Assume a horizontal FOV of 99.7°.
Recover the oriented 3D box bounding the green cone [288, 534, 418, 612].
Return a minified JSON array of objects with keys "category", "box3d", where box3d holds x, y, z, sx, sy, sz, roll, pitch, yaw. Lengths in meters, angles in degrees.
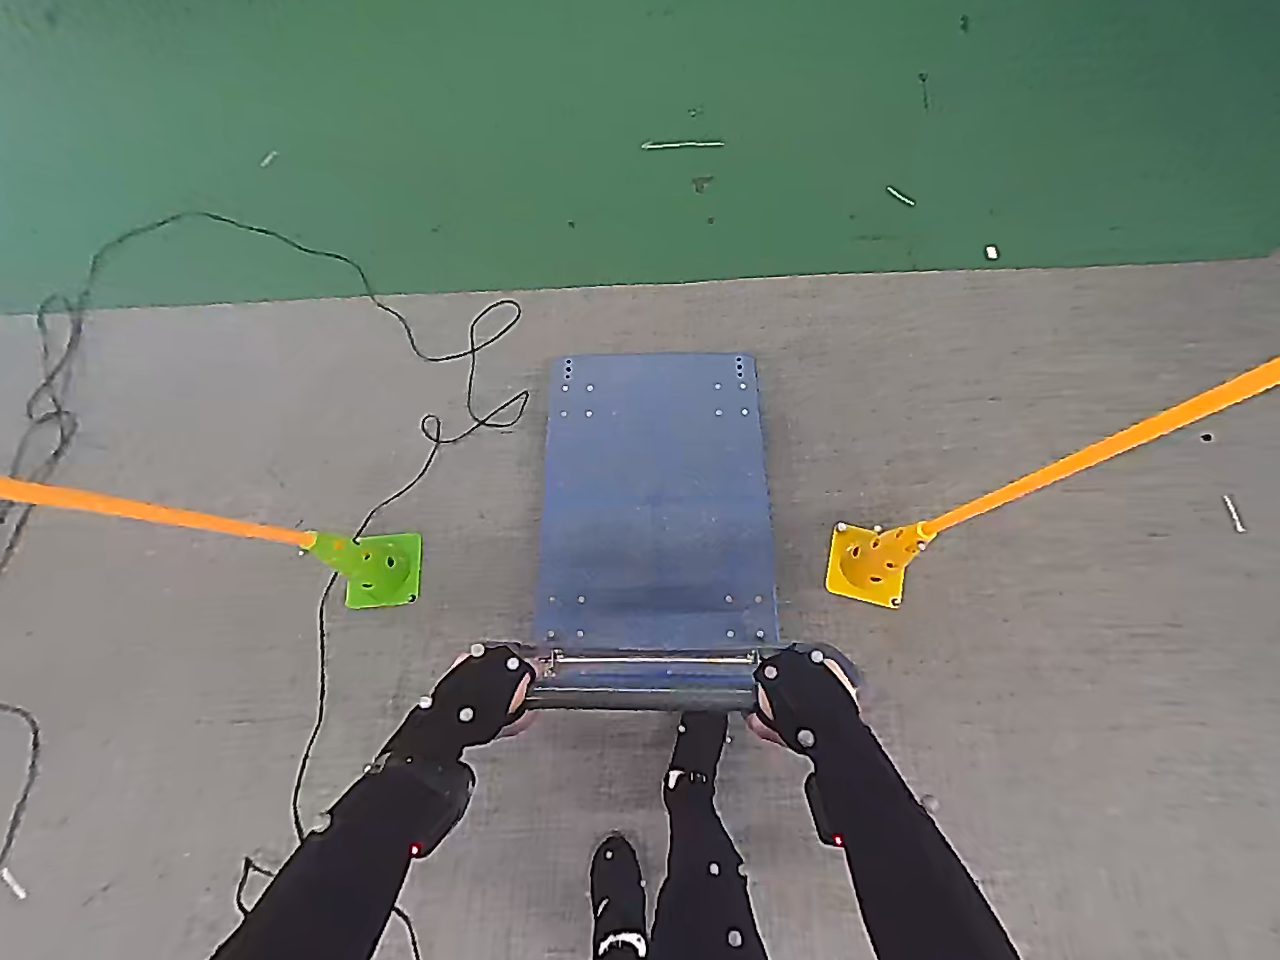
[{"category":"green cone","box3d":[-0.726,0.195,1.334,0.202,0.368,0.200,-6,69,1]}]
